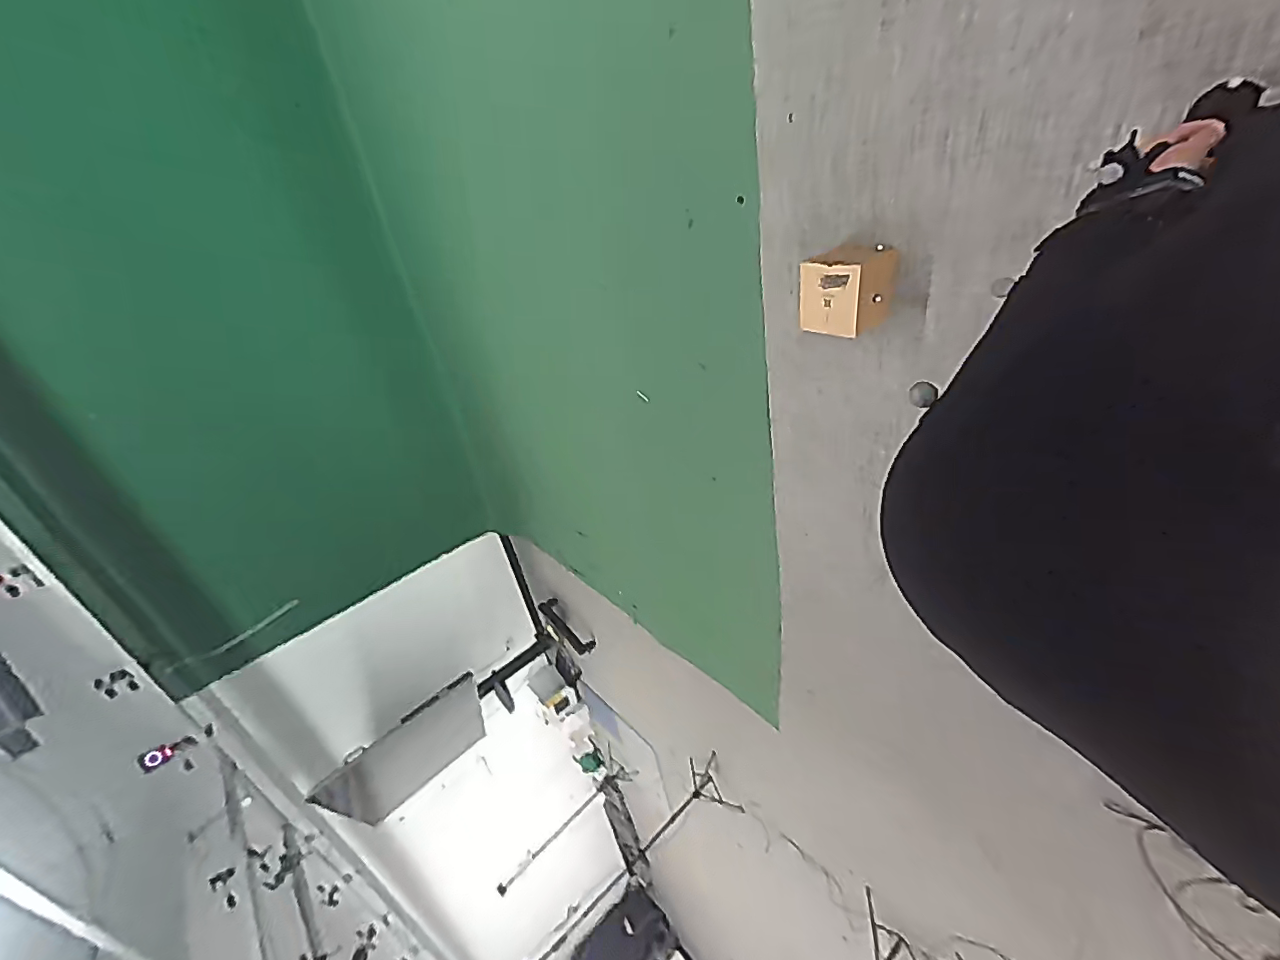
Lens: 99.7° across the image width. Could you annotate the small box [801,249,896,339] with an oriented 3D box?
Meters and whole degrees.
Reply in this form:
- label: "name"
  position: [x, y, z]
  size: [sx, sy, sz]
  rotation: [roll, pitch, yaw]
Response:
- label: "small box"
  position: [0.531, -0.481, 1.380]
  size: [0.168, 0.176, 0.179]
  rotation: [27, 138, 43]
